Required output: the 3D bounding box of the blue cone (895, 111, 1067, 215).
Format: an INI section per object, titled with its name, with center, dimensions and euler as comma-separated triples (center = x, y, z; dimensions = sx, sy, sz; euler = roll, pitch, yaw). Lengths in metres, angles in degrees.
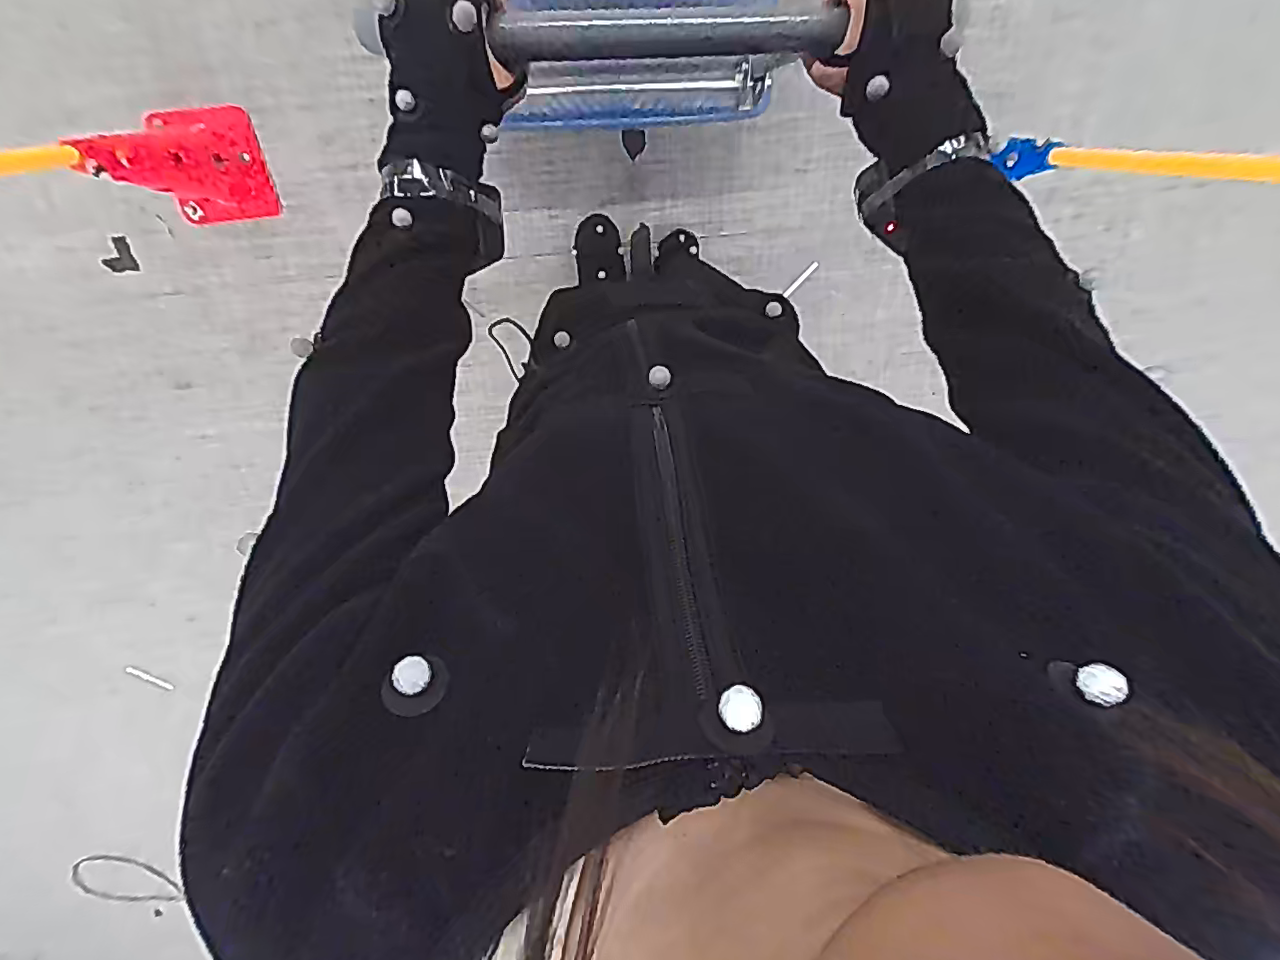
[blue cone]
center = 0.689, -0.643, 1.083
dimensions = 0.193, 0.380, 0.192
euler = -10, 117, -1
